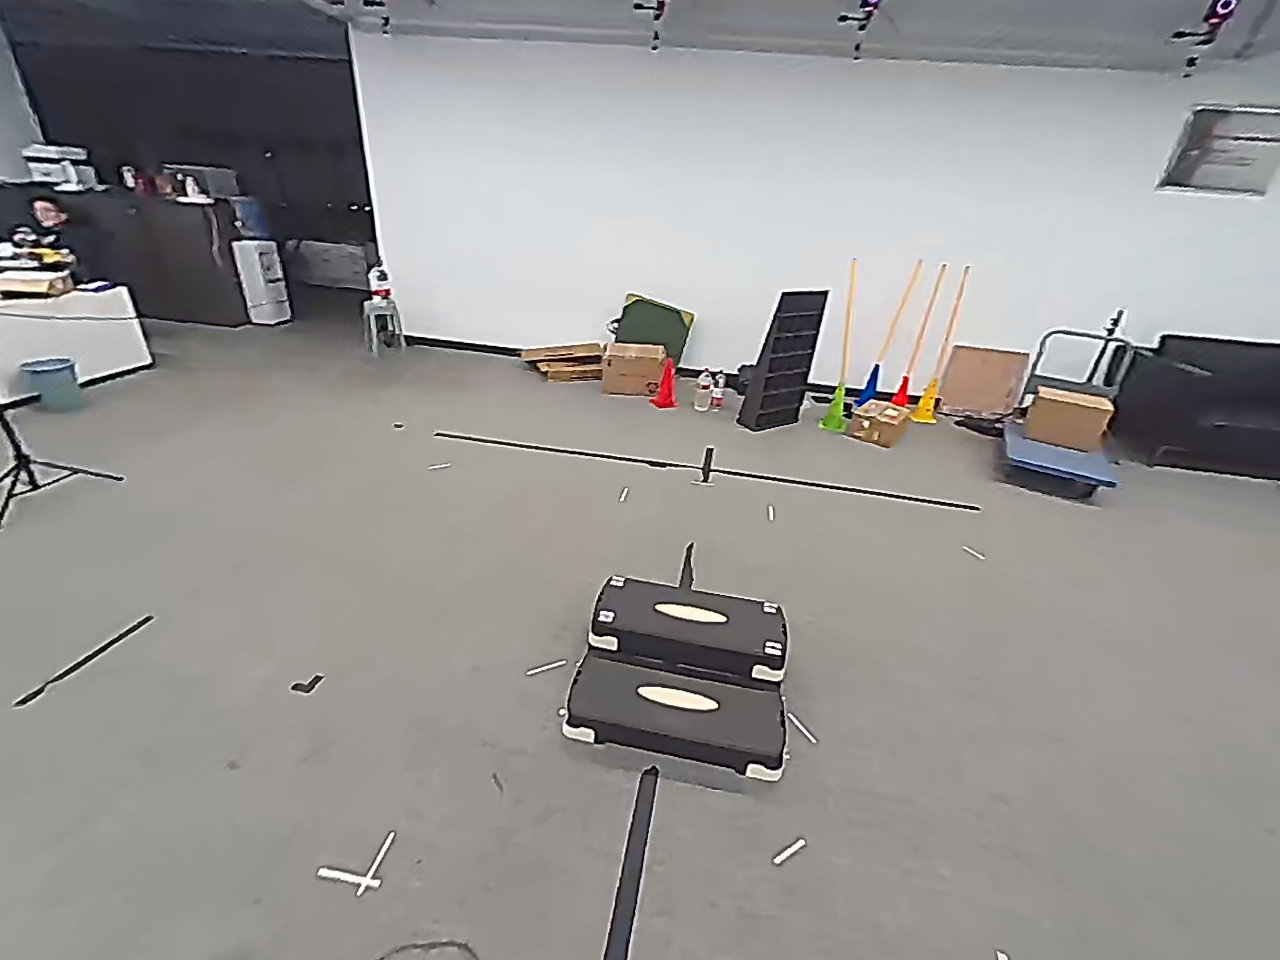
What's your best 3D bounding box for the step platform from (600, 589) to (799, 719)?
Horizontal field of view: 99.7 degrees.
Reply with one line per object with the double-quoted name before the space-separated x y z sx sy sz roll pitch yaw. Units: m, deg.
"step platform" 0.207 0.598 1.912 0.684 0.204 0.286 11 27 11
